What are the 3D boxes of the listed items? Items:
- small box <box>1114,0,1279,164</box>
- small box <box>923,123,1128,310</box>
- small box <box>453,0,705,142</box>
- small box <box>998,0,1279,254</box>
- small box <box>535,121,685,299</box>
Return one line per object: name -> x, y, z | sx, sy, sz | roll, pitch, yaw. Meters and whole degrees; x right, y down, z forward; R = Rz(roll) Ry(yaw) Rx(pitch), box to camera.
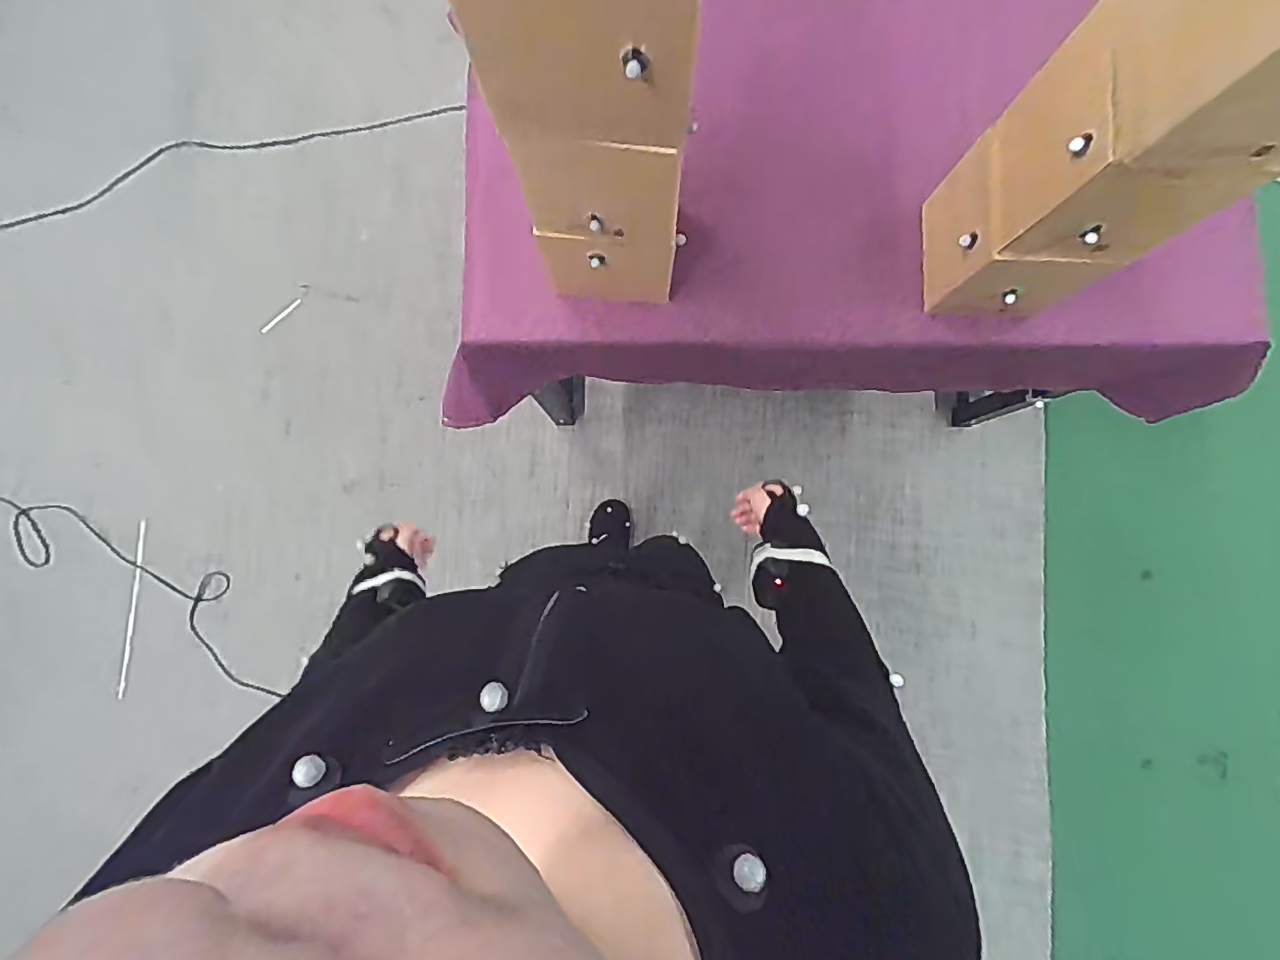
small box -> 0.514, -0.379, 0.413 | 0.168, 0.176, 0.179 | -2, 85, 1
small box -> 0.511, -0.346, 0.739 | 0.168, 0.176, 0.179 | 2, 85, 0
small box -> -0.036, -0.397, 0.418 | 0.179, 0.176, 0.168 | 5, 84, 1
small box -> 0.515, -0.368, 0.578 | 0.168, 0.176, 0.179 | 2, 86, 0
small box -> -0.036, -0.365, 0.744 | 0.179, 0.176, 0.168 | 4, 85, 0
